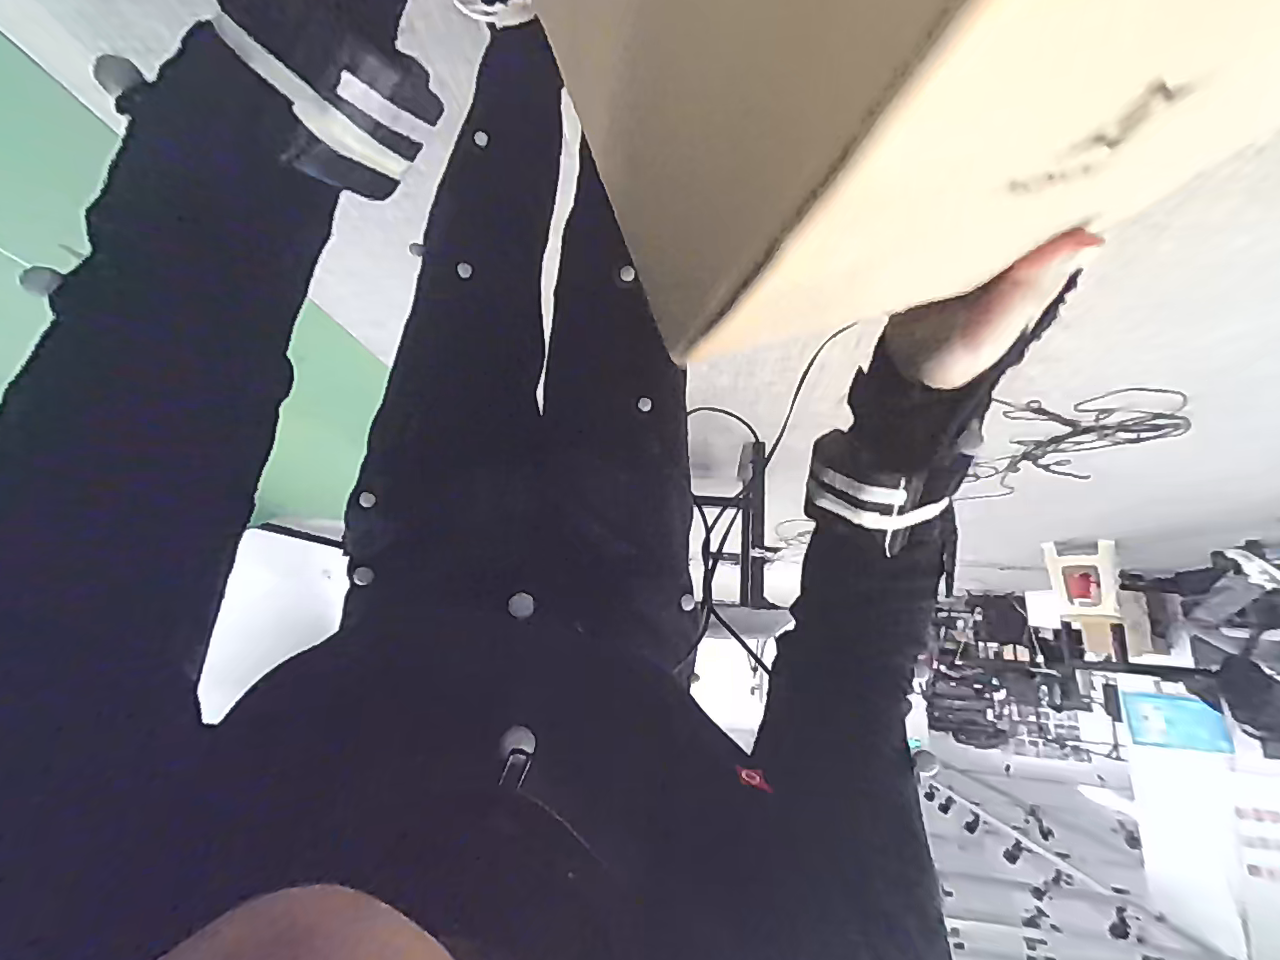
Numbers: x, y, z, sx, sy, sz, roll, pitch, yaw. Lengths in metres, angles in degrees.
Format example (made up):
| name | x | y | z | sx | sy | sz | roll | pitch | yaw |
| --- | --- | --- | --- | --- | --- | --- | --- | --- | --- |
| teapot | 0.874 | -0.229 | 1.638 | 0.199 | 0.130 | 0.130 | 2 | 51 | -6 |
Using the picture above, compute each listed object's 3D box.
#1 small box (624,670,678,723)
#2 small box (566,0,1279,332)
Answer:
| name | x | y | z | sx | sy | sz | roll | pitch | yaw |
| --- | --- | --- | --- | --- | --- | --- | --- | --- | --- |
| small box | 0.047 | 0.801 | 2.030 | 0.179 | 0.176 | 0.168 | 2 | 163 | 12 |
| small box | 0.078 | -0.165 | 0.137 | 0.168 | 0.176 | 0.179 | -18 | 175 | -16 |
